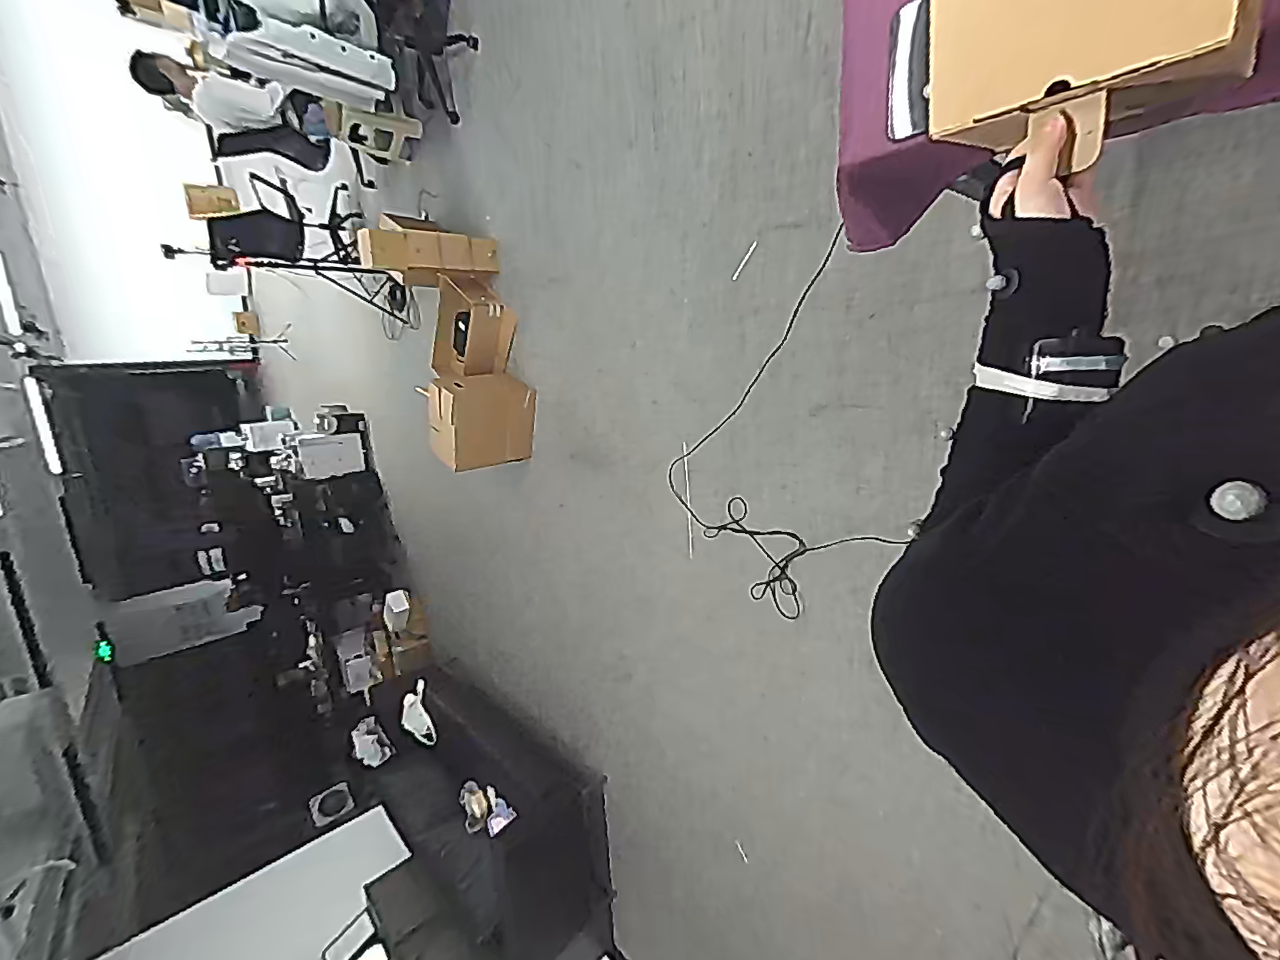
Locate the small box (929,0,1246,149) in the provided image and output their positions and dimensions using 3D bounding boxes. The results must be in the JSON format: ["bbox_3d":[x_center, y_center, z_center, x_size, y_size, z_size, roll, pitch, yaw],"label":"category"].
[{"bbox_3d":[0.335,-0.371,0.403,0.168,0.176,0.179,11,117,47],"label":"small box"}]
